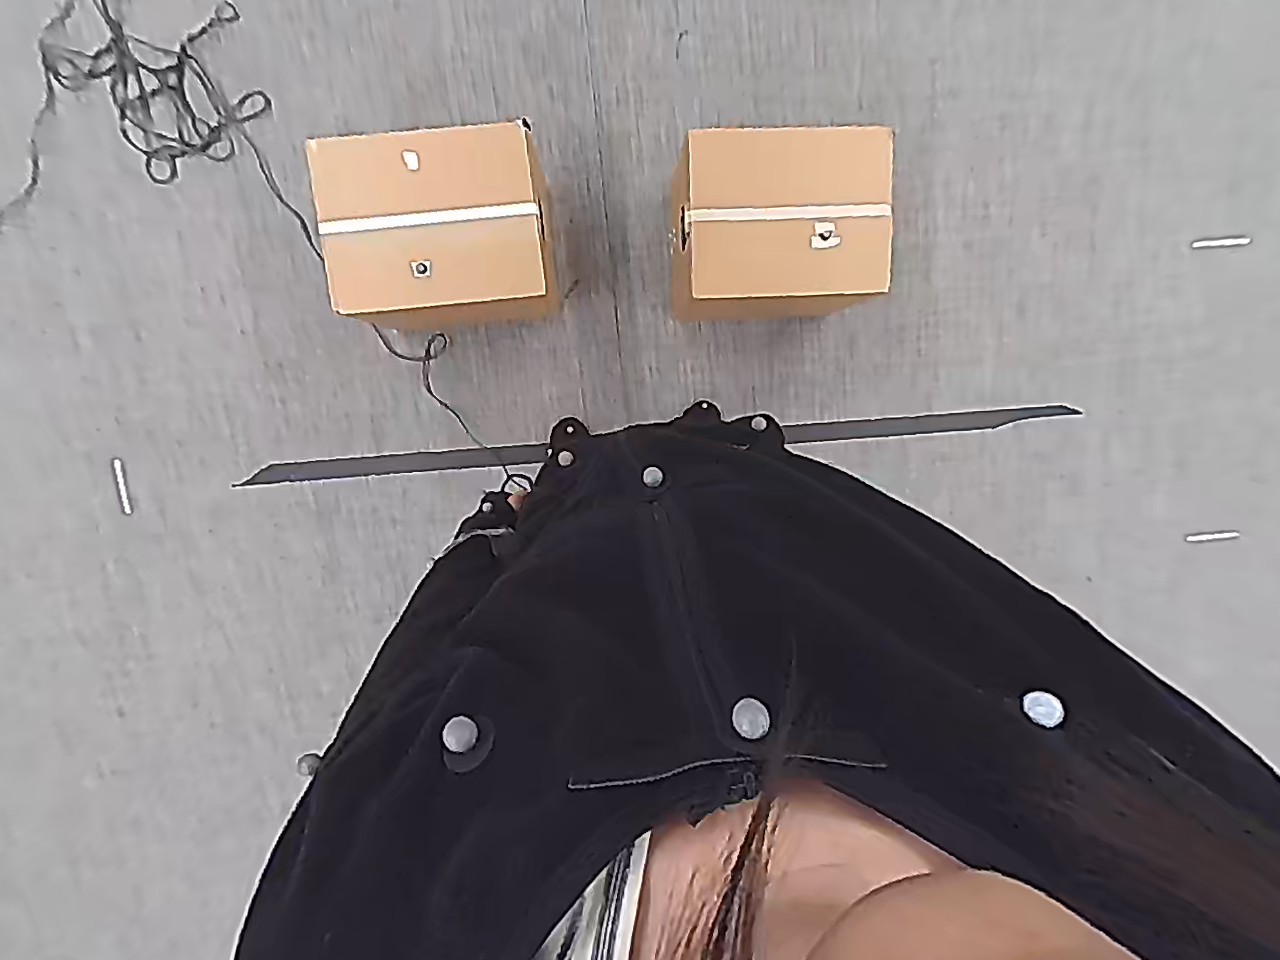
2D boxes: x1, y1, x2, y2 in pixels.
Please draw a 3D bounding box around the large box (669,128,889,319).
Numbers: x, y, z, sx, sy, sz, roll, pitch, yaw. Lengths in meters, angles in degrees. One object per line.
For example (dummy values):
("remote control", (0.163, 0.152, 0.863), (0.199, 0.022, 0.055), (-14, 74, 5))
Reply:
("large box", (0.286, -0.549, 1.215), (0.408, 0.320, 0.320), (-3, 99, -4))
